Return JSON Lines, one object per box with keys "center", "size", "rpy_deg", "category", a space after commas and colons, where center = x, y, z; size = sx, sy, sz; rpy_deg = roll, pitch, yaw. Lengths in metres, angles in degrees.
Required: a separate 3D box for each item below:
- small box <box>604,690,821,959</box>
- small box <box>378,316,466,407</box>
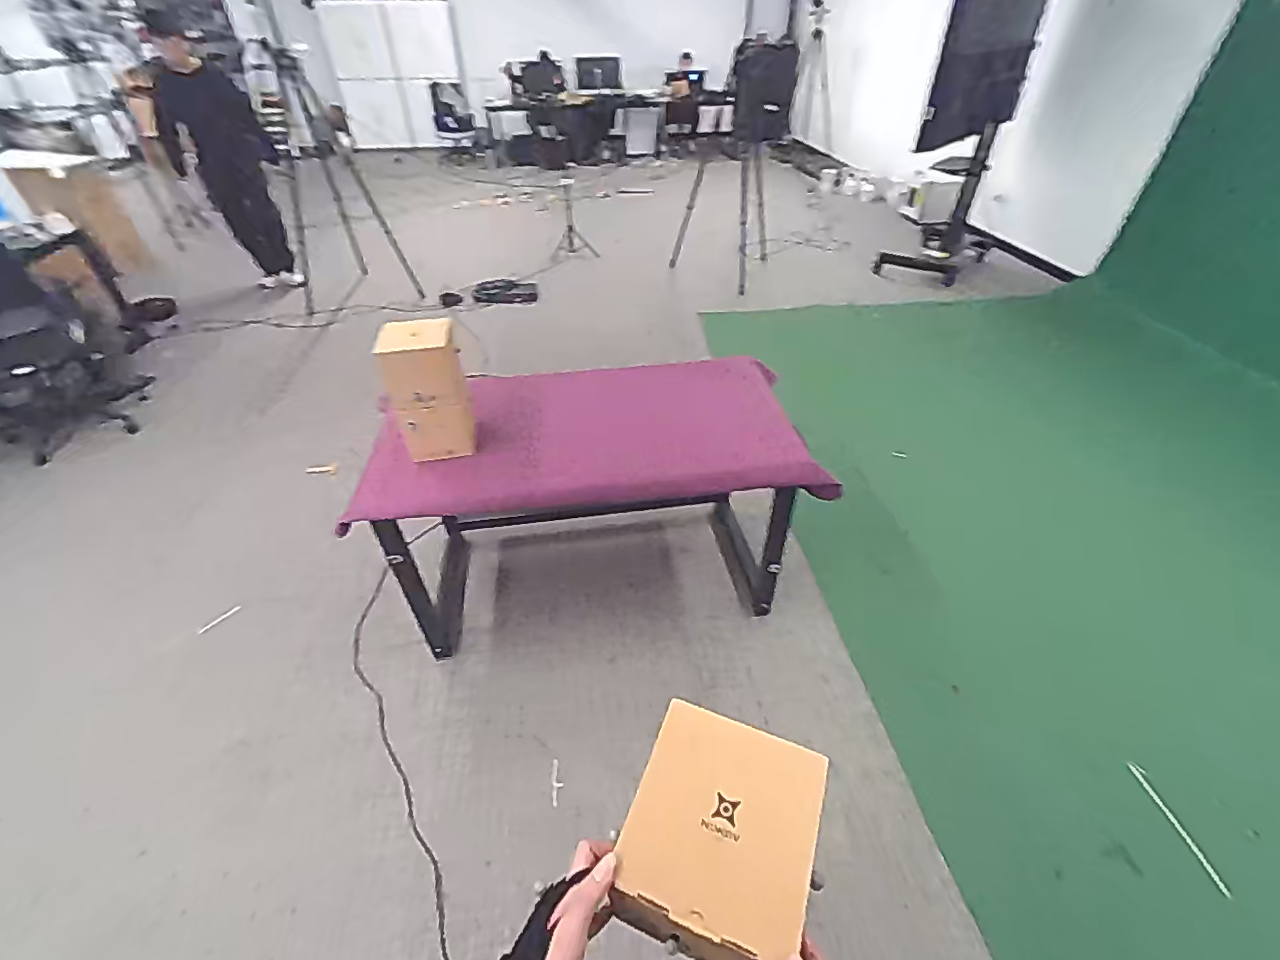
{"center": [0.073, 0.358, 0.558], "size": [0.168, 0.176, 0.179], "rpy_deg": [15, 47, 16], "category": "small box"}
{"center": [-0.556, -0.309, 1.403], "size": [0.168, 0.176, 0.179], "rpy_deg": [-7, 41, -8], "category": "small box"}
